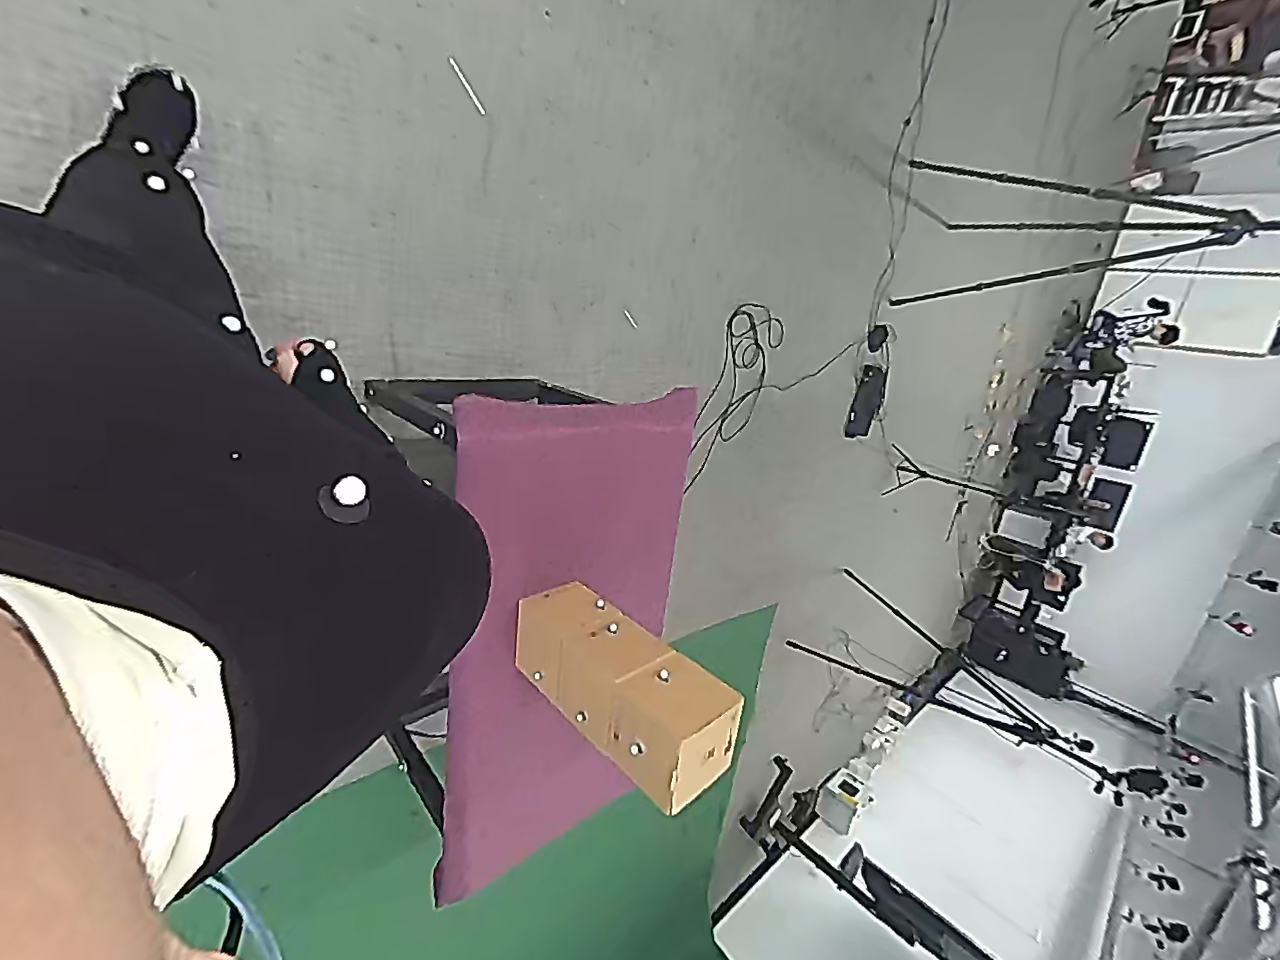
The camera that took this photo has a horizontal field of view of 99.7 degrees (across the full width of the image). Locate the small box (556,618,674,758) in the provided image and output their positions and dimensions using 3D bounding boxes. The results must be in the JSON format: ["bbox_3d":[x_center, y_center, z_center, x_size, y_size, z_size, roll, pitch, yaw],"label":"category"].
[{"bbox_3d":[-0.056,0.414,1.106,0.168,0.176,0.179,-9,114,-43],"label":"small box"}]

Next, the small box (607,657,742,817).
[{"bbox_3d":[0.059,0.462,1.001,0.179,0.176,0.168,-10,115,-42],"label":"small box"}]
